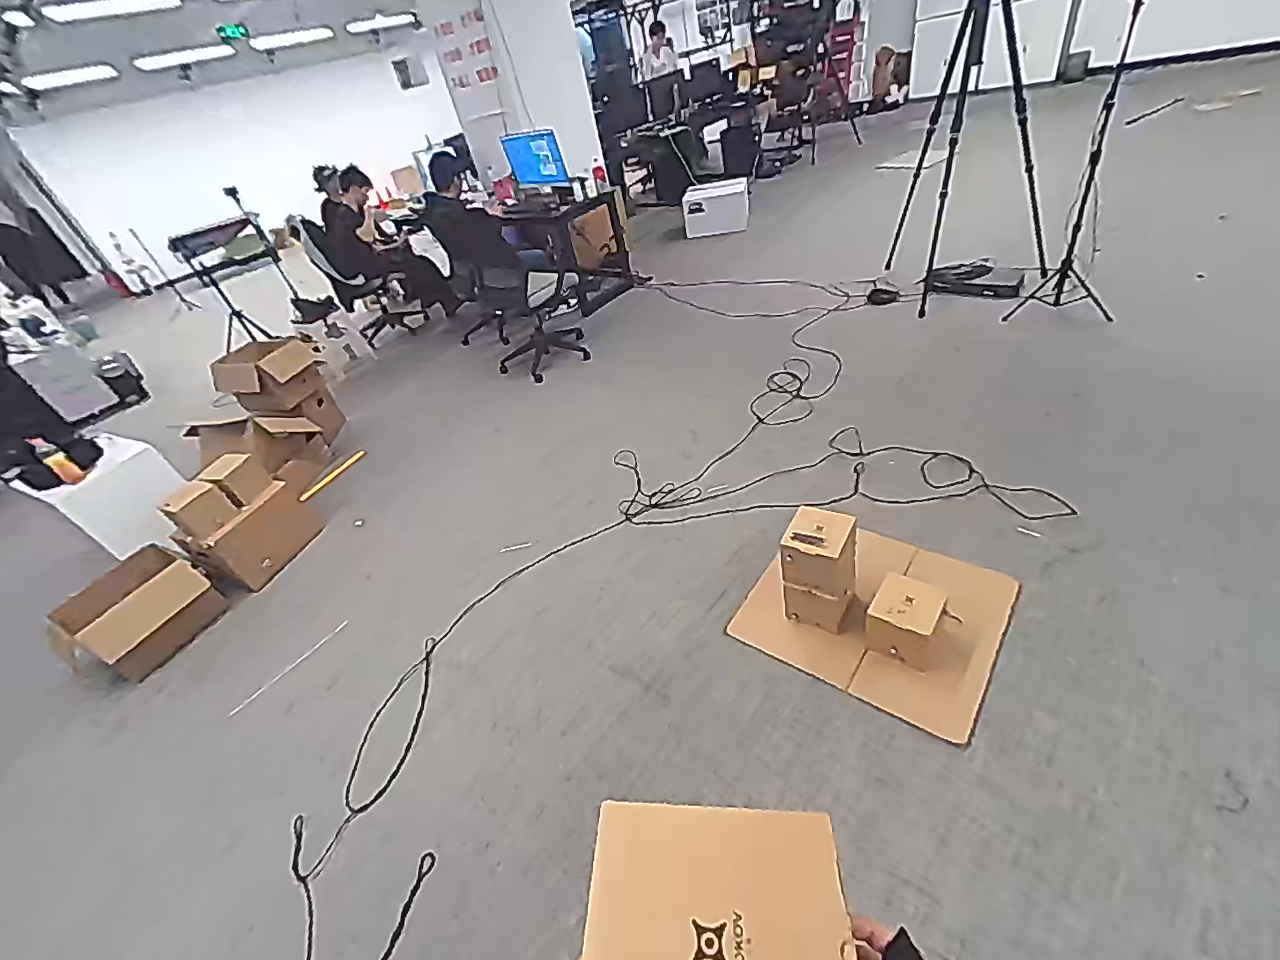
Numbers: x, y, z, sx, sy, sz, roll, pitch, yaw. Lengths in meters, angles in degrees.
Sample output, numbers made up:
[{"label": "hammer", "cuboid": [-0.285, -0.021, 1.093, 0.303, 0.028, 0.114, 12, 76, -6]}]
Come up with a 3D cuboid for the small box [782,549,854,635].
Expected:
[{"label": "small box", "cuboid": [0.557, 0.348, 1.678, 0.168, 0.176, 0.179, 14, 46, 33]}]

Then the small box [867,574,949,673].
[{"label": "small box", "cuboid": [0.756, 0.407, 1.537, 0.168, 0.176, 0.179, 17, 48, 37]}]

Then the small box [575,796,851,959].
[{"label": "small box", "cuboid": [0.051, 0.360, 0.395, 0.179, 0.176, 0.168, 0, 37, 6]}]
